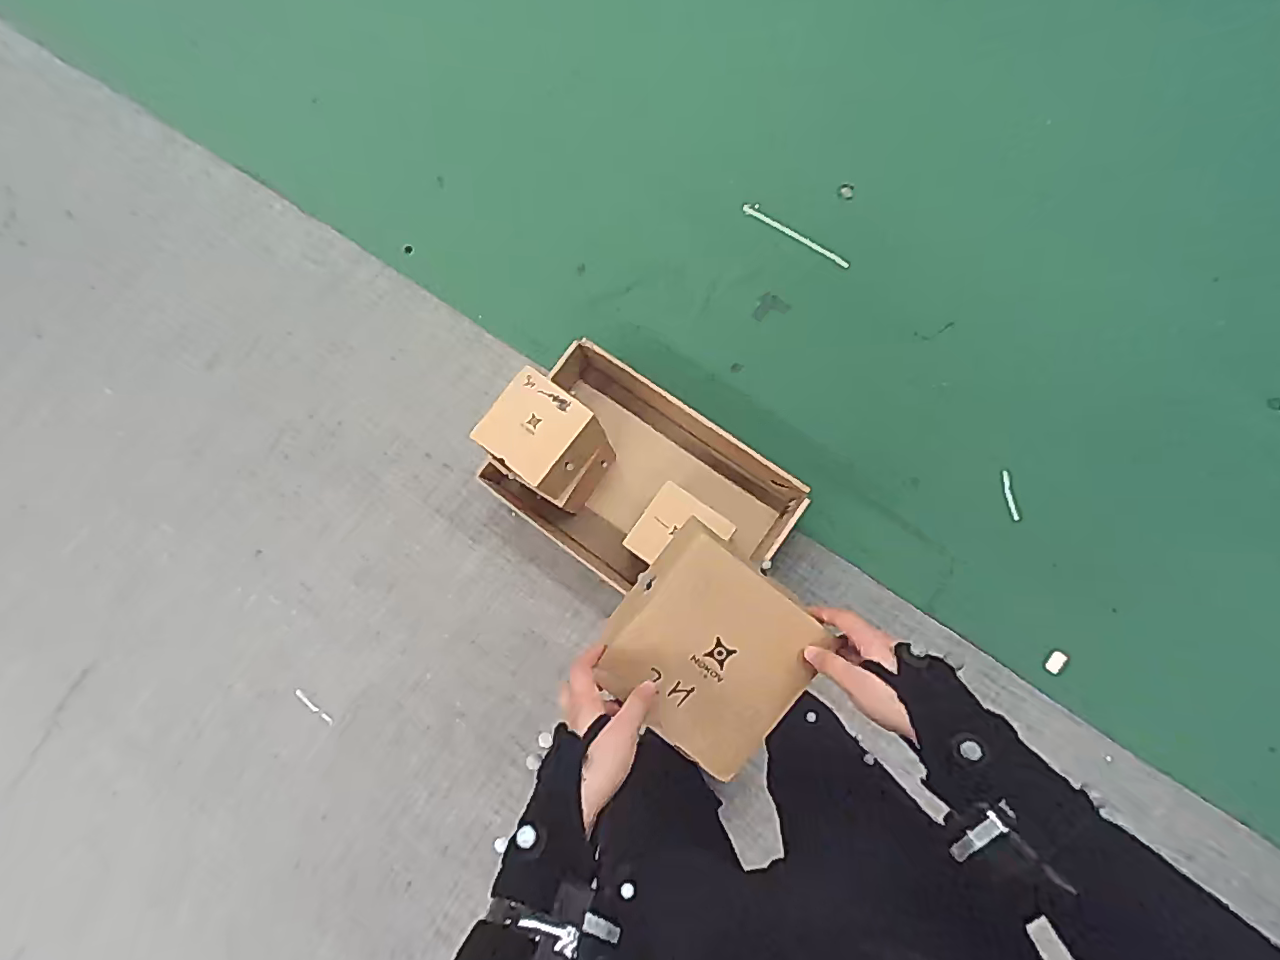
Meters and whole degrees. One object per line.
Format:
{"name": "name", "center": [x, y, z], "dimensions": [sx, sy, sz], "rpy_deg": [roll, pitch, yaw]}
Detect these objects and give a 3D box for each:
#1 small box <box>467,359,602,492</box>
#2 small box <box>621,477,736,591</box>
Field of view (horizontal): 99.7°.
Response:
{"name": "small box", "center": [-0.191, -0.094, 1.044], "dimensions": [0.168, 0.176, 0.179], "rpy_deg": [37, 87, 9]}
{"name": "small box", "center": [0.084, 0.115, 1.156], "dimensions": [0.179, 0.176, 0.168], "rpy_deg": [35, 86, 10]}
